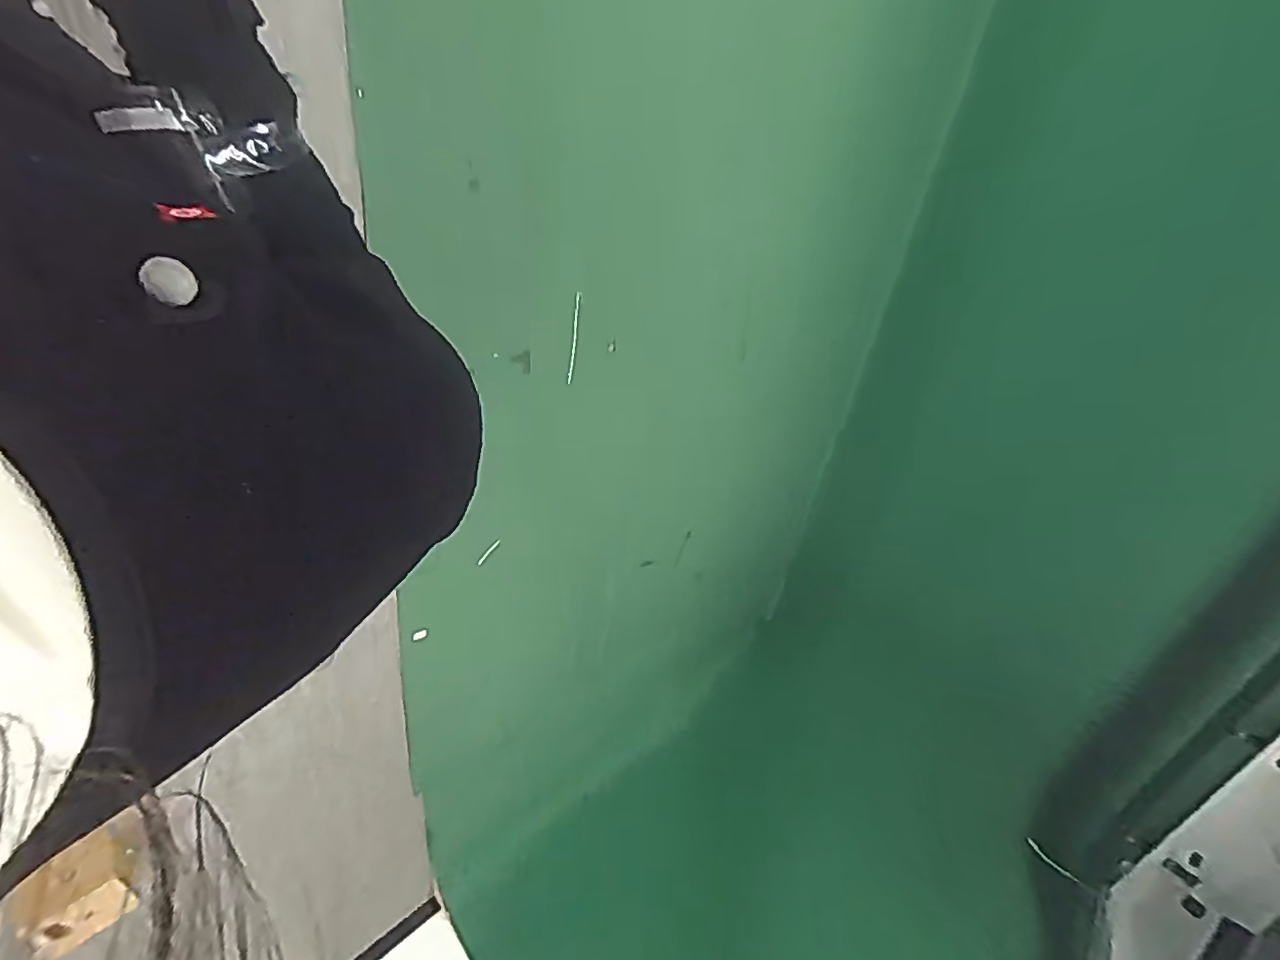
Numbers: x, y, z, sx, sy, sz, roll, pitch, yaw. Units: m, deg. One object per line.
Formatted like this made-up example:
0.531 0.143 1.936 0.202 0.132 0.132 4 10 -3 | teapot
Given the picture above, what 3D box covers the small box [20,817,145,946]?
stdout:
-1.435 1.030 1.397 0.179 0.176 0.168 -28 135 -35 | small box
